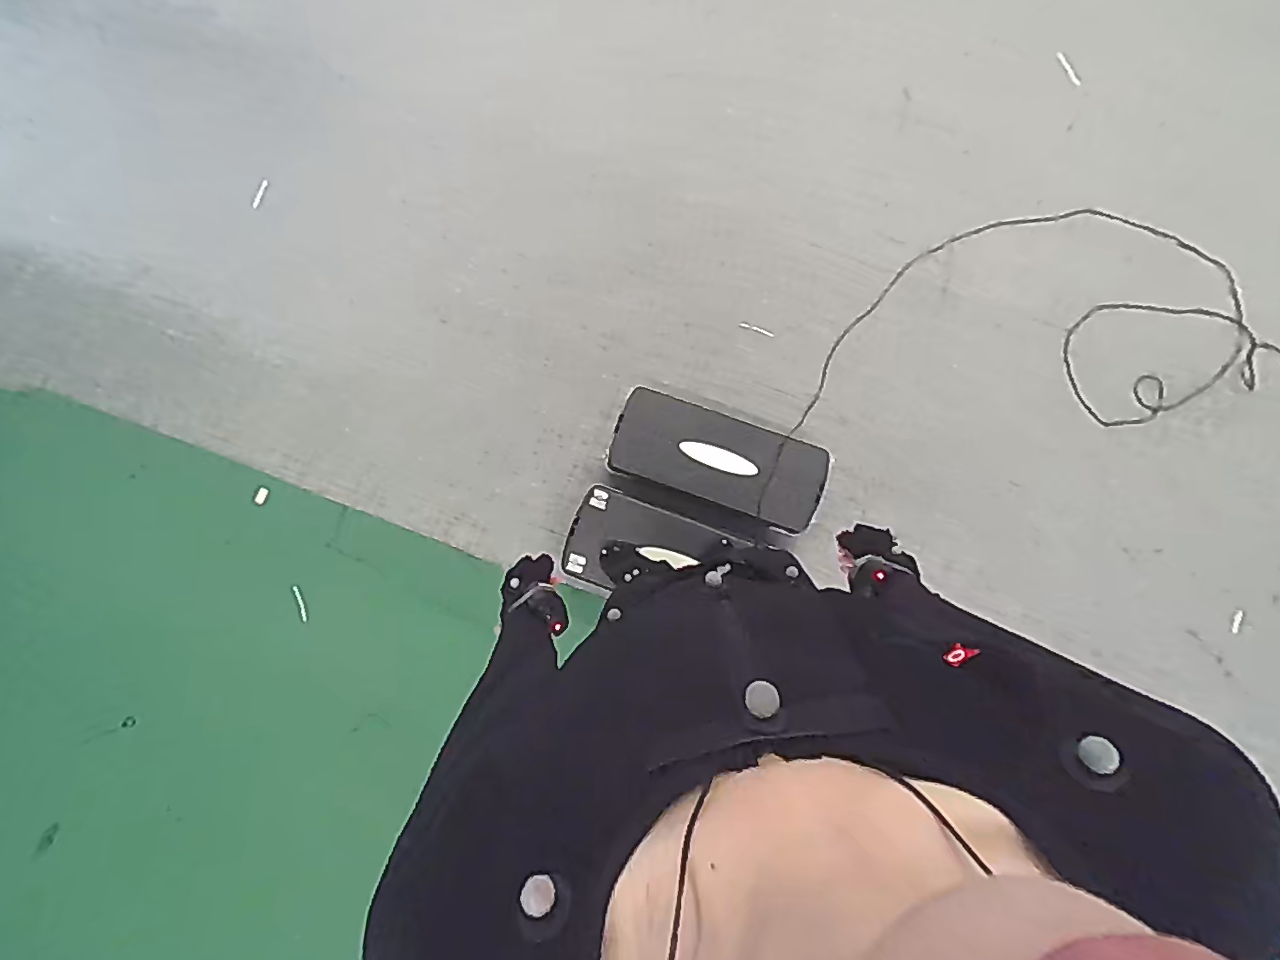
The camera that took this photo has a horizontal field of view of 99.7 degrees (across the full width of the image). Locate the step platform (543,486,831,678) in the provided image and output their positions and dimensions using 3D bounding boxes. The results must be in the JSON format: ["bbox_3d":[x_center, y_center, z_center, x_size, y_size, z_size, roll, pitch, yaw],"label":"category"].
[{"bbox_3d":[0.113,0.250,1.393,0.684,0.204,0.286,19,85,2],"label":"step platform"}]
